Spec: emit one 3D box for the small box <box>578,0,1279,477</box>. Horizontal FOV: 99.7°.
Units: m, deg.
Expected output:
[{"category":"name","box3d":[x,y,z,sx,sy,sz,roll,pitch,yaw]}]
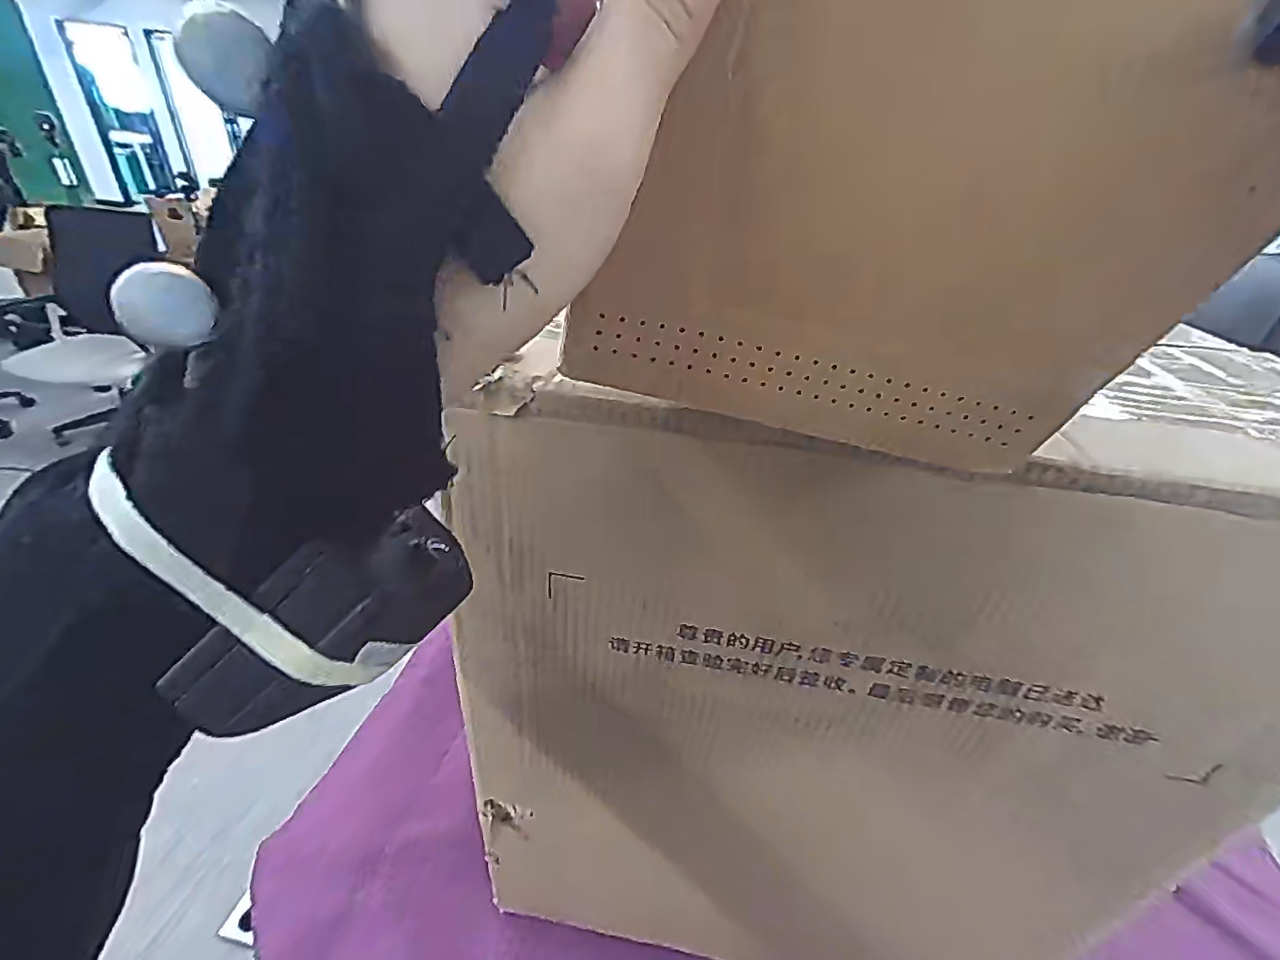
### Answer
[{"category":"small box","box3d":[0.079,-0.121,0.196,0.179,0.176,0.168,12,50,-6]}]
